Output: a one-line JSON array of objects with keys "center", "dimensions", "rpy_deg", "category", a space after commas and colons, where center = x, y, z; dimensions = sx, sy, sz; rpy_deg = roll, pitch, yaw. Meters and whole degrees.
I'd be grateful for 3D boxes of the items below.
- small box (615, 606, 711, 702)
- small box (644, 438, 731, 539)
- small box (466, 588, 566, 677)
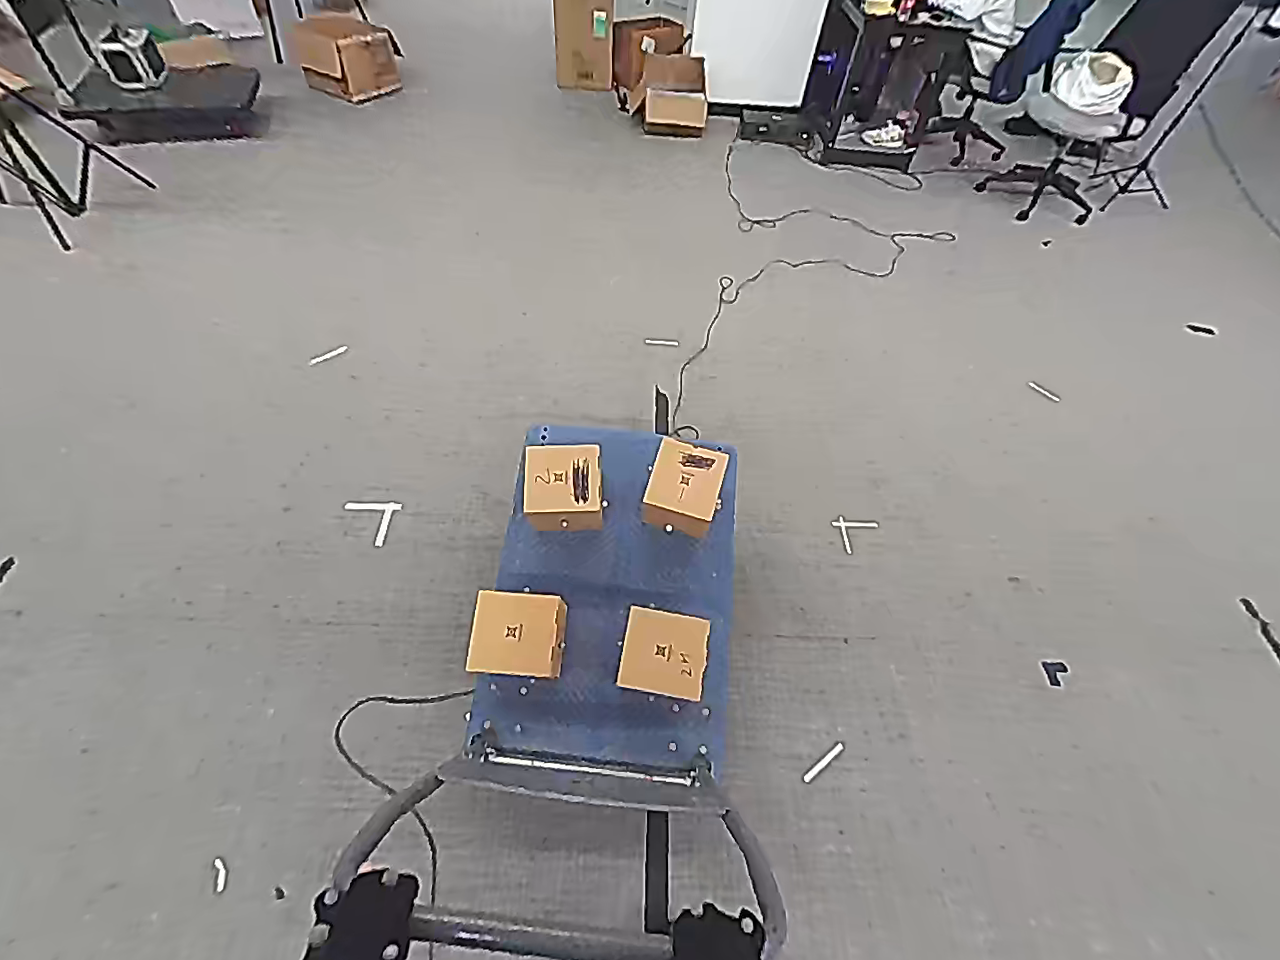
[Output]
[{"center": [0.048, 0.387, 1.194], "dimensions": [0.179, 0.176, 0.168], "rpy_deg": [11, 70, 2], "category": "small box"}, {"center": [0.110, 0.026, 1.333], "dimensions": [0.168, 0.176, 0.179], "rpy_deg": [17, 71, 5], "category": "small box"}, {"center": [-0.266, 0.344, 1.200], "dimensions": [0.179, 0.176, 0.168], "rpy_deg": [5, 69, -2], "category": "small box"}]
